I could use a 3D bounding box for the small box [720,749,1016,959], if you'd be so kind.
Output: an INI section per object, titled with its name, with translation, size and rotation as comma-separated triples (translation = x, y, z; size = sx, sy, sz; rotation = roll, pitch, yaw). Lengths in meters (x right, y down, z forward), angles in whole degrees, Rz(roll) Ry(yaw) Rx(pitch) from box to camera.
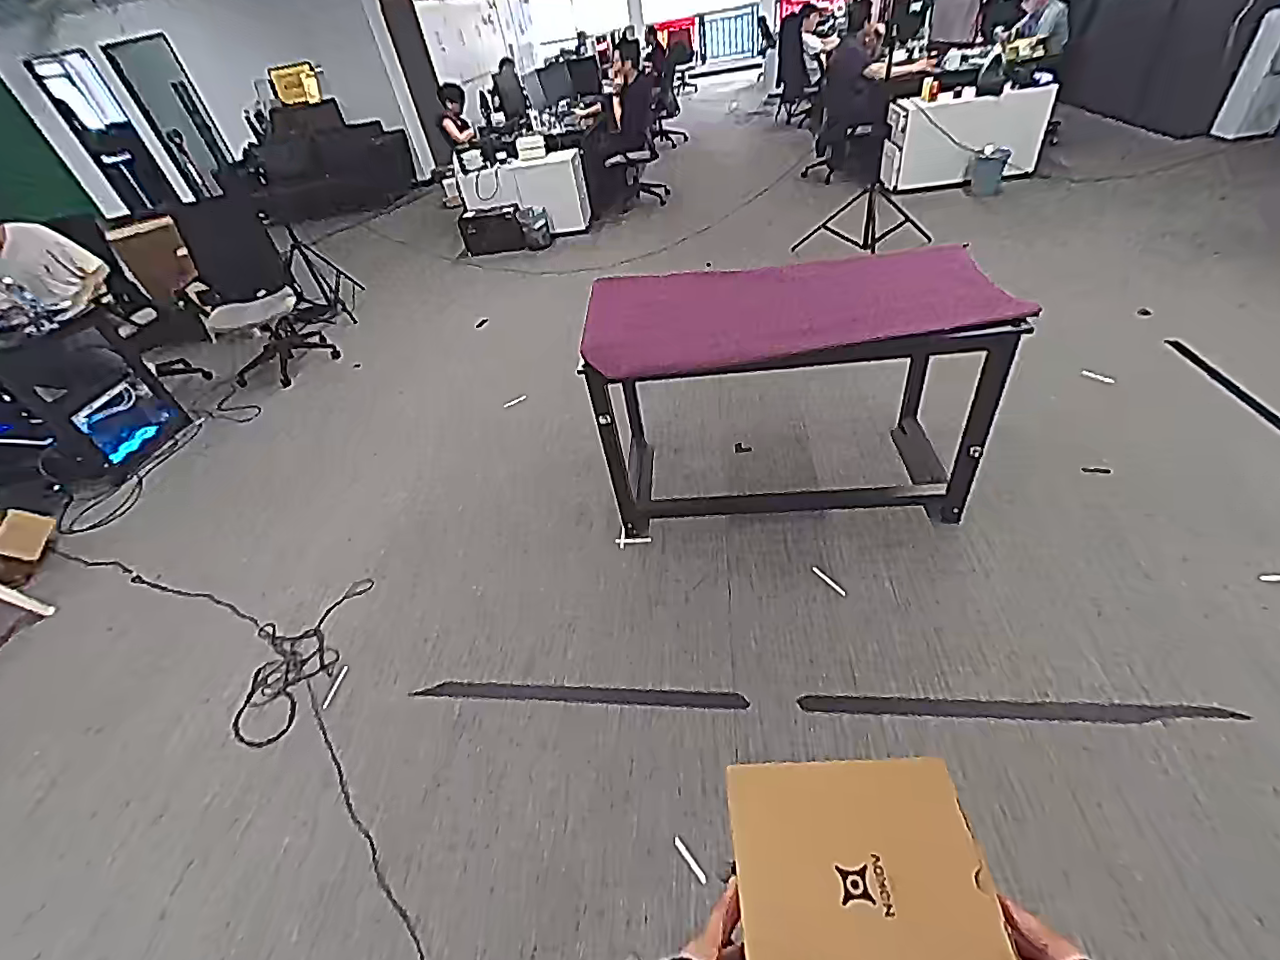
[small box]
translation = 0.162, 0.337, 0.437
size = 0.179, 0.176, 0.168
rotation = -5, 44, 4
